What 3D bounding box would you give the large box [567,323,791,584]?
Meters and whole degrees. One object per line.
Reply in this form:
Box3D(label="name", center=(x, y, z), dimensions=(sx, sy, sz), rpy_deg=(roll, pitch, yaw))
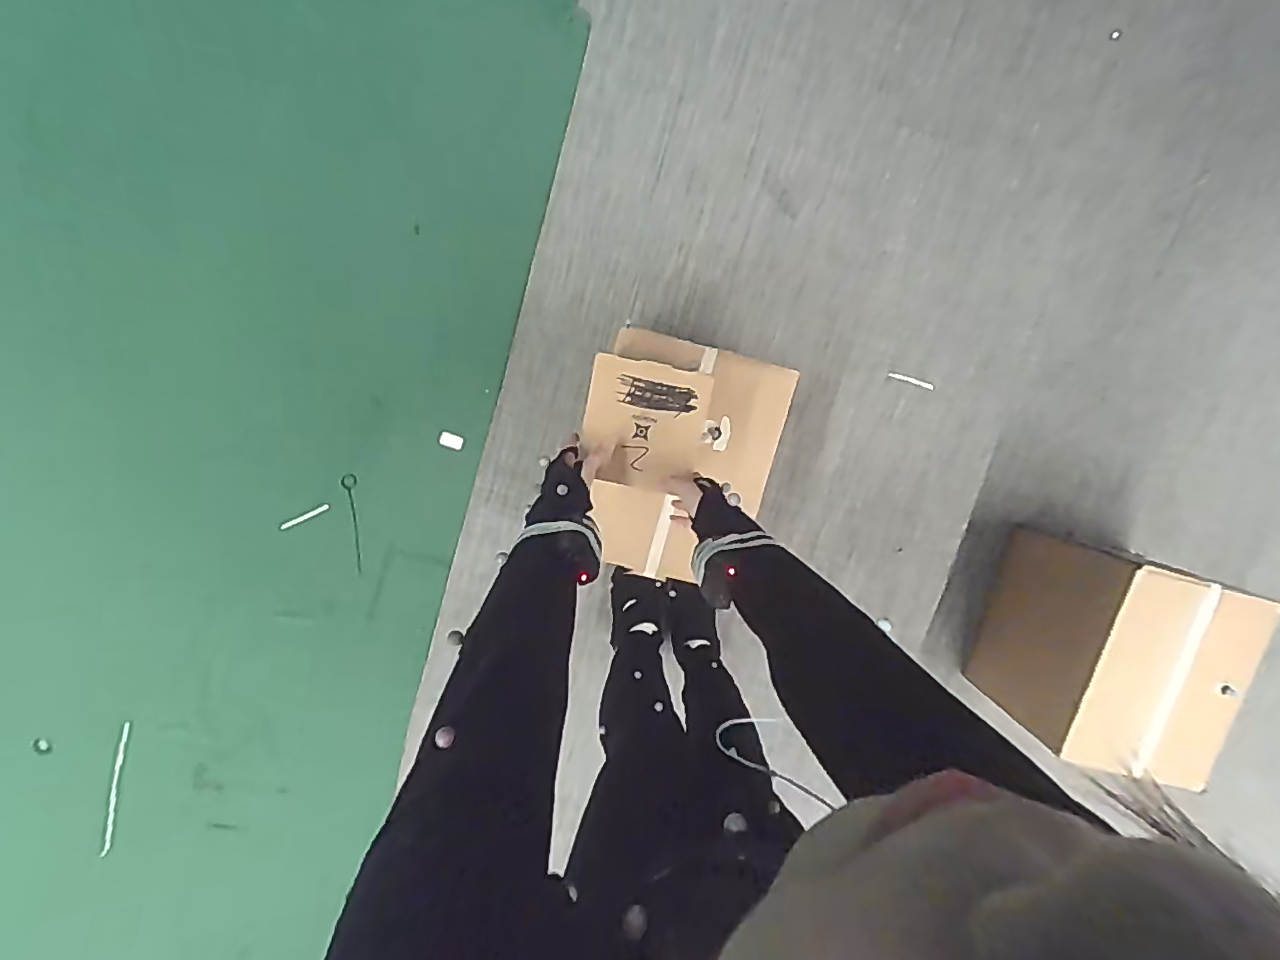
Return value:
Box3D(label="large box", center=(0.062, -0.056, 1.080), dimensions=(0.320, 0.320, 0.408), rpy_deg=(14, 97, -3))
